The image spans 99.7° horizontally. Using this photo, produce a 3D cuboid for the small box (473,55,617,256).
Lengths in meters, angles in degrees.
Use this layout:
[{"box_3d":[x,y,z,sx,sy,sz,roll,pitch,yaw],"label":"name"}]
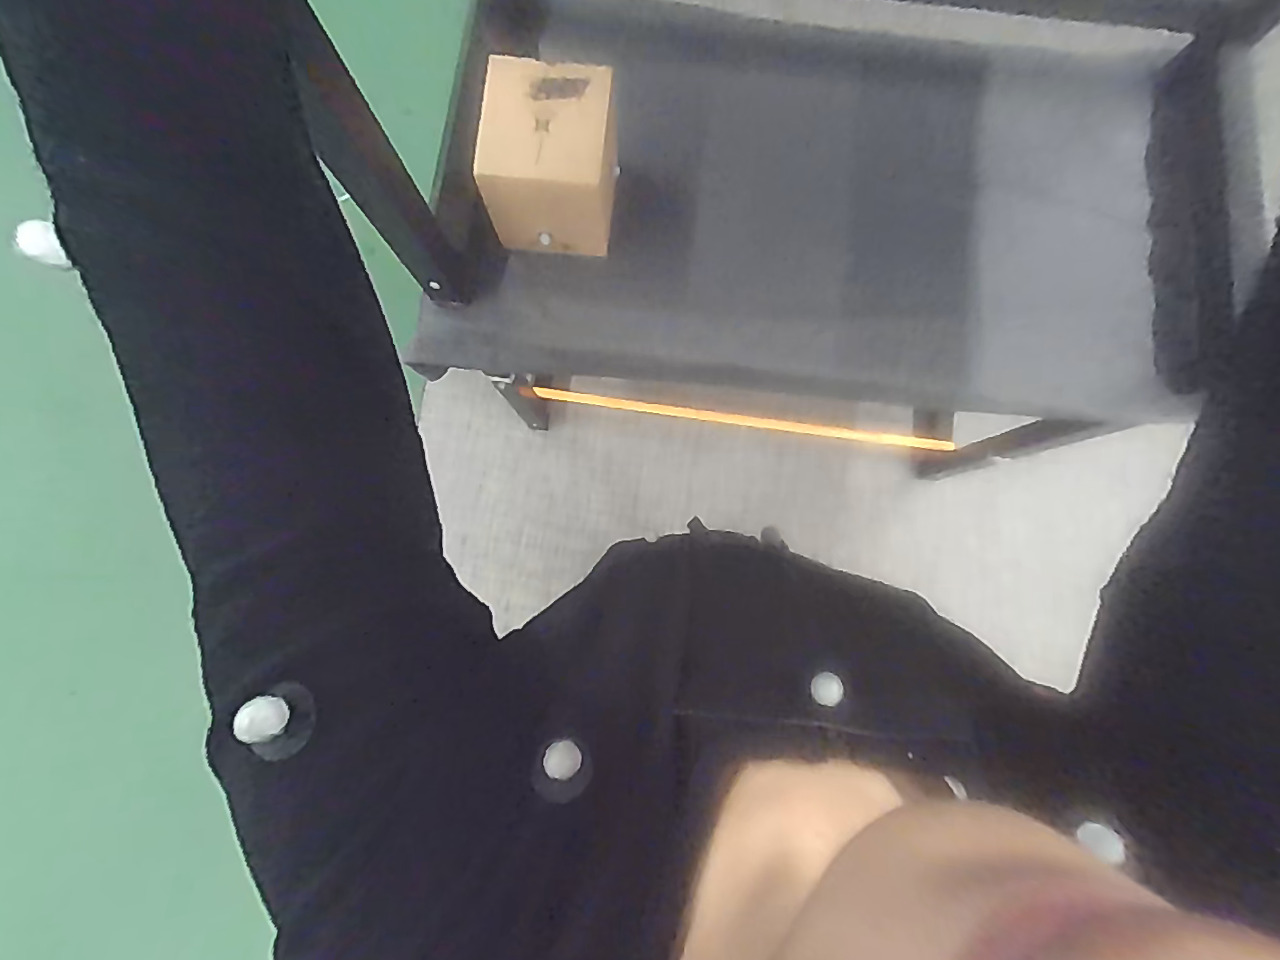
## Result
[{"box_3d":[-0.124,-0.453,0.775,0.168,0.176,0.179,5,81,1],"label":"small box"}]
